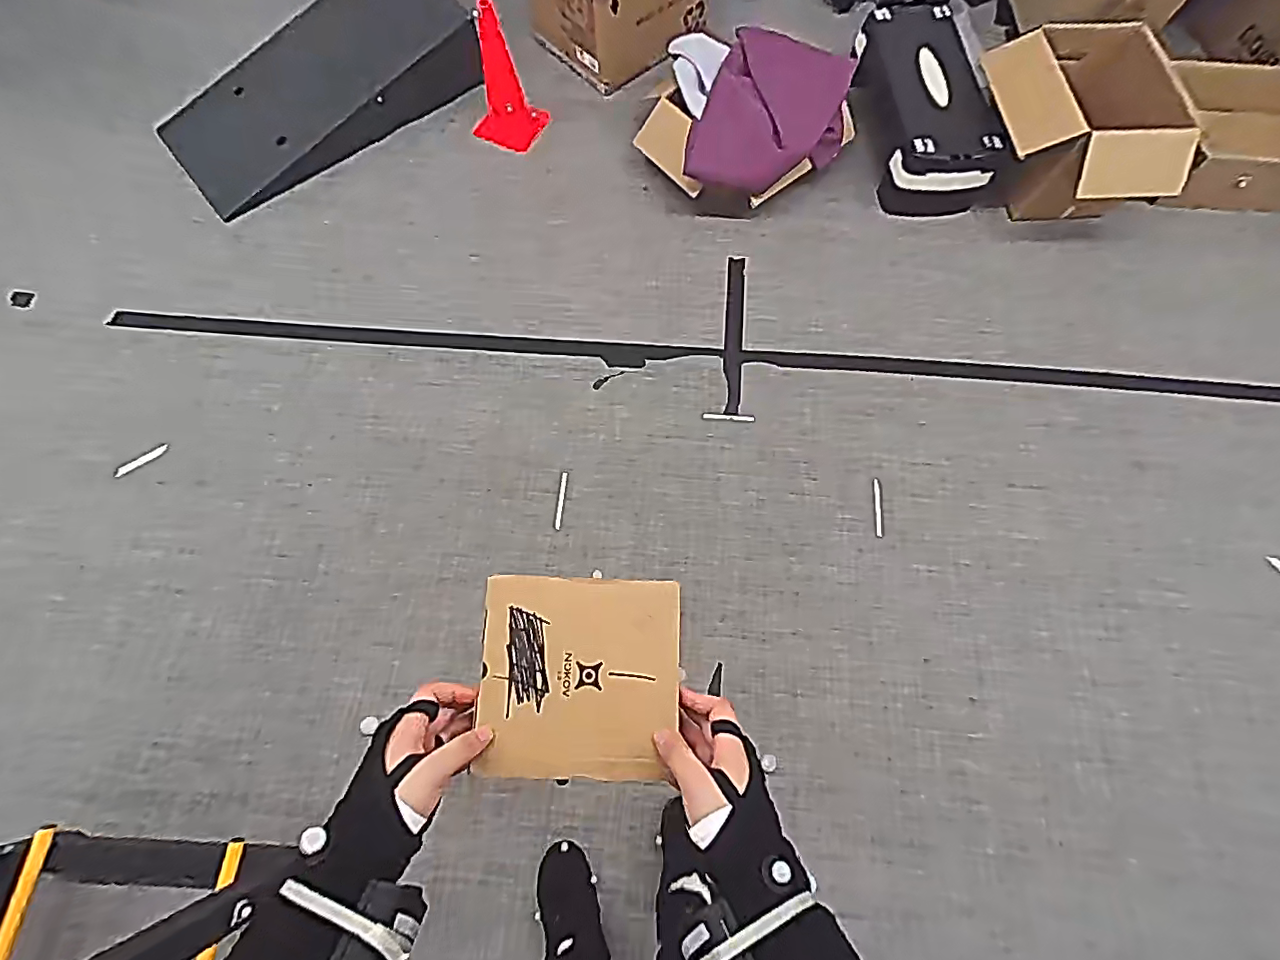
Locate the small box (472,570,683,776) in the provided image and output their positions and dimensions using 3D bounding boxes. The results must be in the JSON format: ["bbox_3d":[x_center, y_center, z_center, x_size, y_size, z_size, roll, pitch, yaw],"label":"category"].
[{"bbox_3d":[-0.052,0.187,0.545,0.179,0.176,0.168,2,74,-2],"label":"small box"}]
